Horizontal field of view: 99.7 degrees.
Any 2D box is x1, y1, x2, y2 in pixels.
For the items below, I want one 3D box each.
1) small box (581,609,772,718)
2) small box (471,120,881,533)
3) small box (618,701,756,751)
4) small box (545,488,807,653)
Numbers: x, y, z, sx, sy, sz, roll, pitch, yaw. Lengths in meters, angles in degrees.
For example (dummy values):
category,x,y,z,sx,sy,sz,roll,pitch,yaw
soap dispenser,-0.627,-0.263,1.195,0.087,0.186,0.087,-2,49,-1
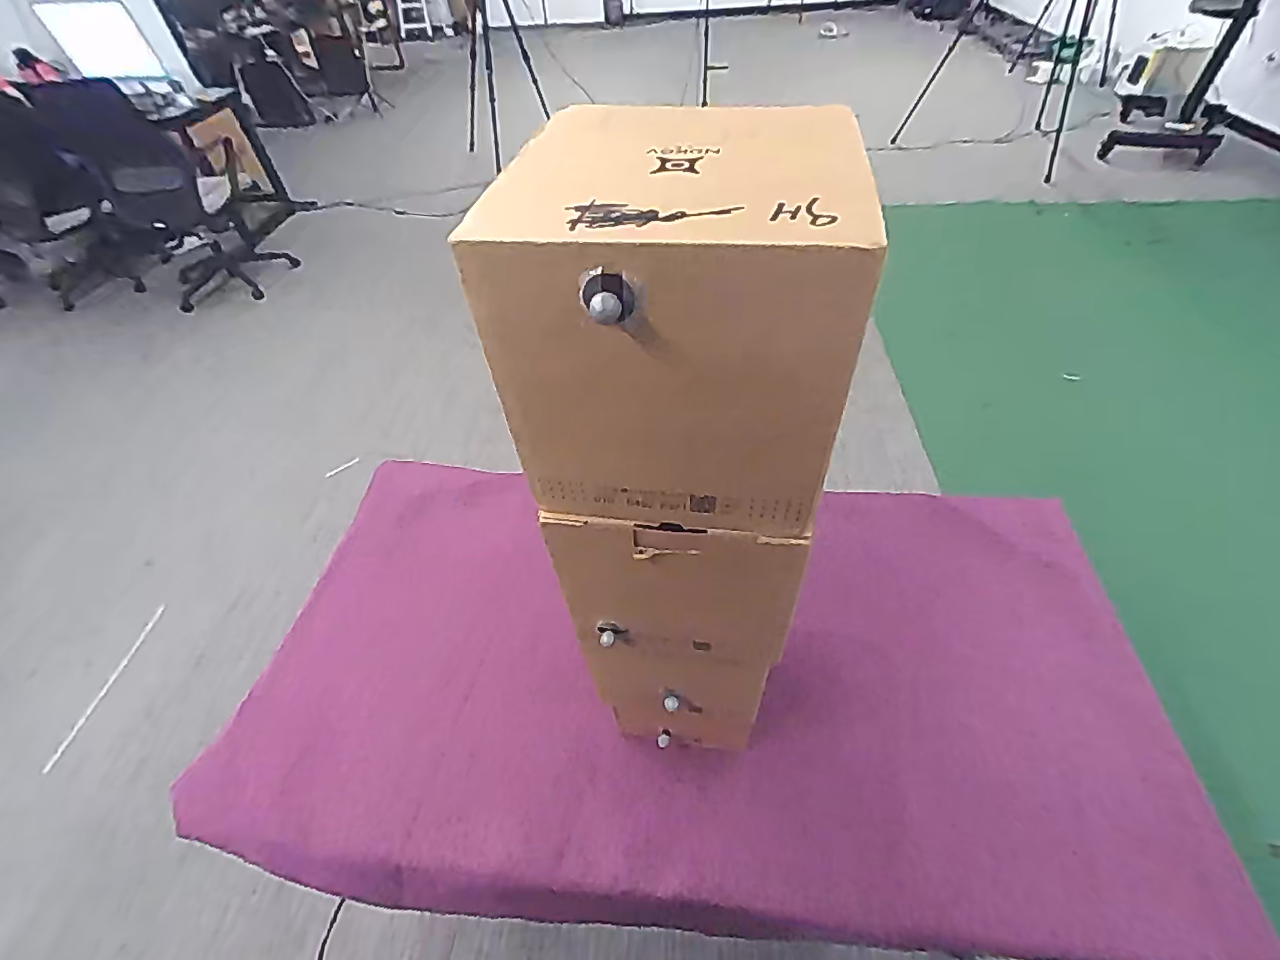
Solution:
category,x,y,z,sx,sy,sz,roll,pitch,yaw
small box,0.046,0.123,0.566,0.168,0.176,0.179,3,48,9
small box,0.029,-0.094,0.322,0.168,0.176,0.179,5,47,10
small box,0.063,0.222,0.697,0.168,0.176,0.179,5,49,10
small box,0.039,0.020,0.439,0.168,0.176,0.179,4,47,9
